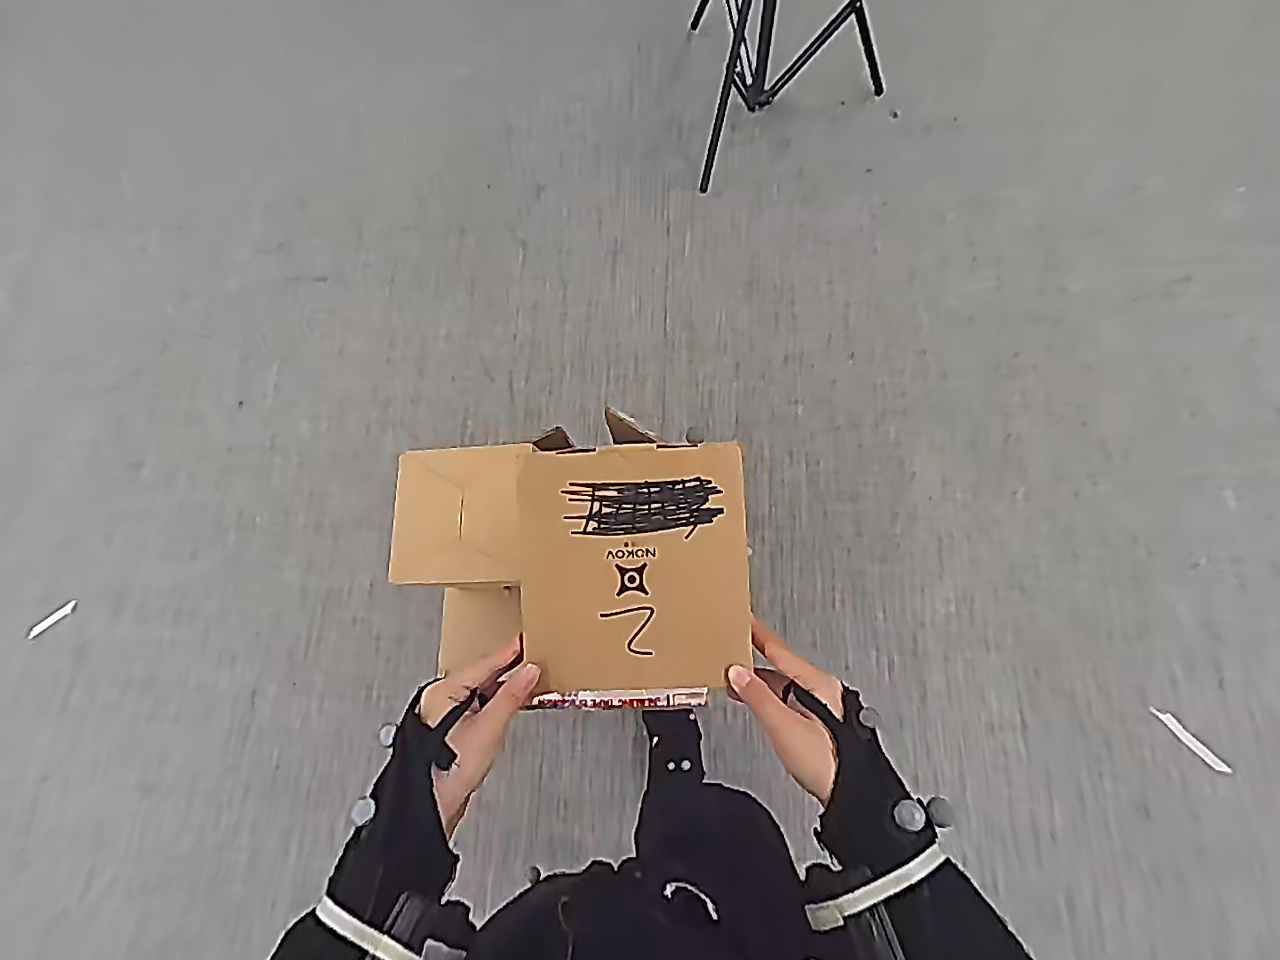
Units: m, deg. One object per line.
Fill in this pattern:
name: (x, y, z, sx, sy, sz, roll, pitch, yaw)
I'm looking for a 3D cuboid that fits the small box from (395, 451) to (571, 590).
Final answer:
small box: (-0.200, 0.063, 0.730, 0.179, 0.176, 0.168, -3, 76, 7)
